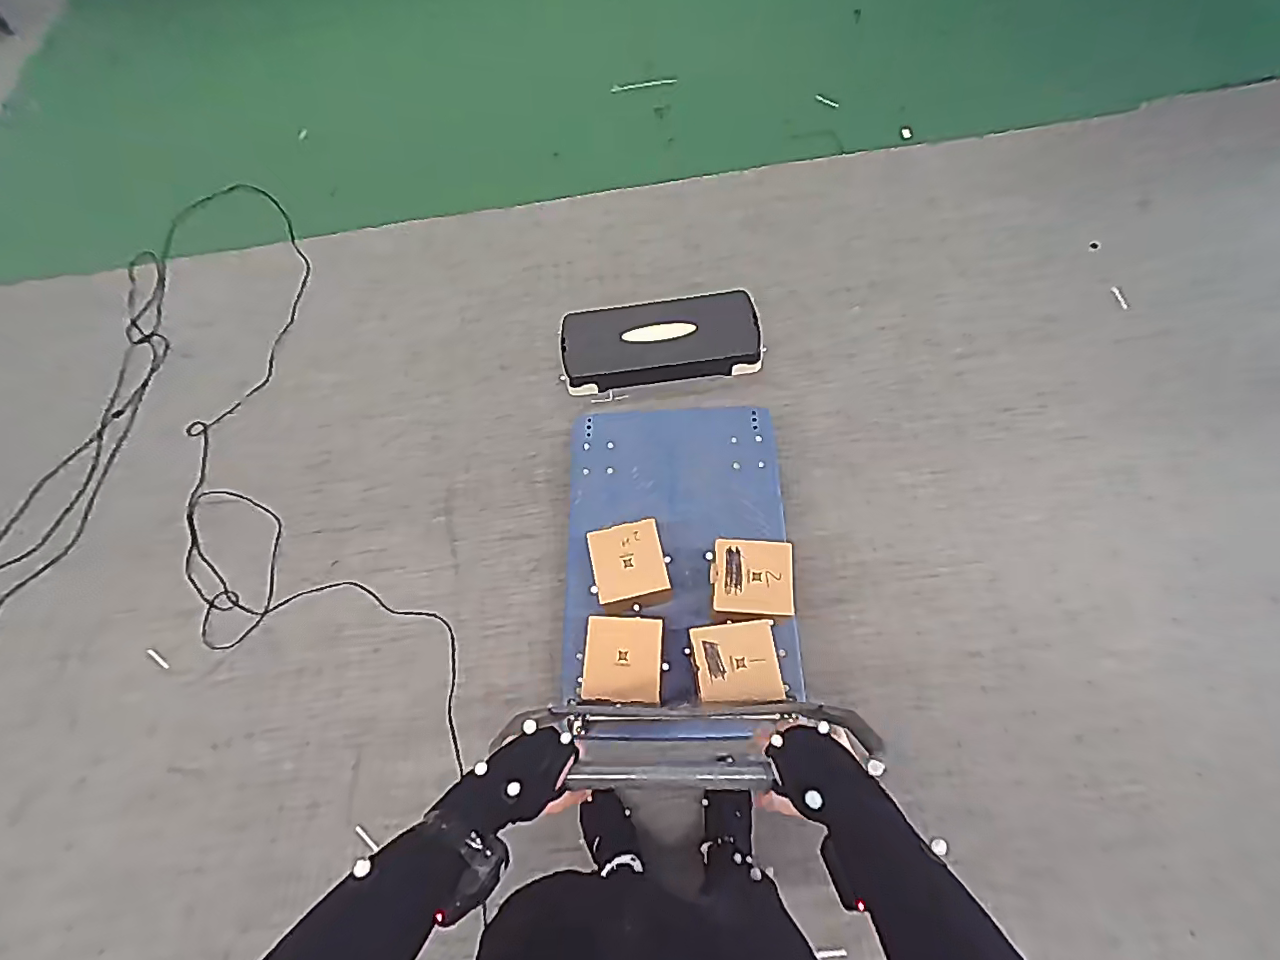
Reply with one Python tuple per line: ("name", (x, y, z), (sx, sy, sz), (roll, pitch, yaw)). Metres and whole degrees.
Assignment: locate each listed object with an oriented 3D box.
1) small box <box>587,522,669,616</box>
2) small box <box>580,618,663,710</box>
("small box", (-0.024, 0.224, 1.312), (0.168, 0.176, 0.179), (-12, 66, -2))
("small box", (-0.035, 0.421, 1.229), (0.168, 0.176, 0.179), (2, 67, 5))
